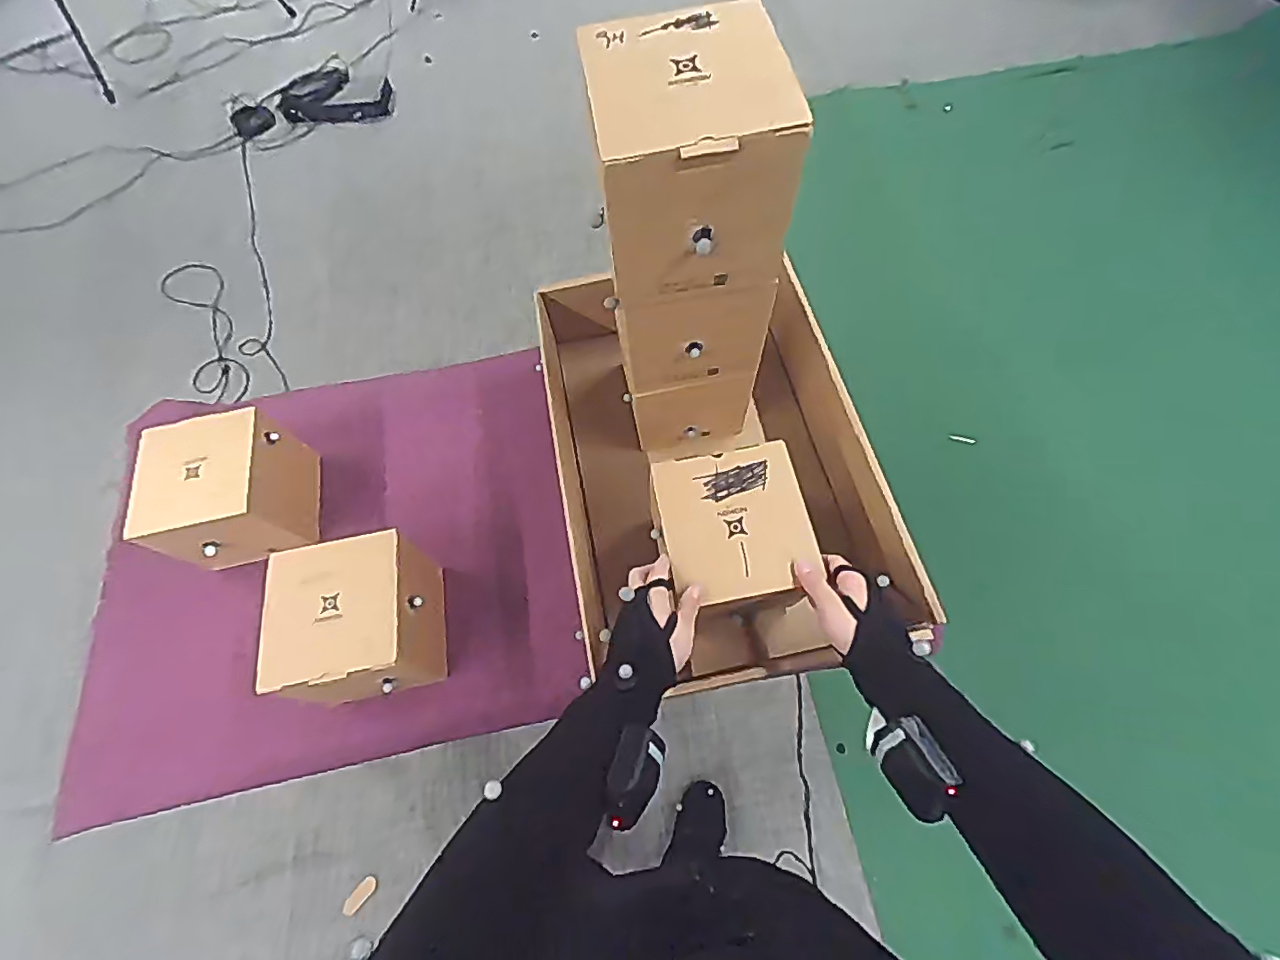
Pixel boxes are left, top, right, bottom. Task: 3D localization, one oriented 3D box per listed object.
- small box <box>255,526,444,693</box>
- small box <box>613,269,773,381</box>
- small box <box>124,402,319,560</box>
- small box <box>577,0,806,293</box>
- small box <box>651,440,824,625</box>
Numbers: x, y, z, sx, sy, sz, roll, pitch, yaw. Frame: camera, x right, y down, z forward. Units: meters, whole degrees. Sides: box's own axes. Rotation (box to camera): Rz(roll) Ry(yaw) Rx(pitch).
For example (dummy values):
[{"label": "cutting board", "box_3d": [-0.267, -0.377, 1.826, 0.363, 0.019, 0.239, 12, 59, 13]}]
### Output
[{"label": "small box", "box_3d": [-0.377, 0.184, 0.735, 0.168, 0.176, 0.179, -11, 64, -3]}, {"label": "small box", "box_3d": [0.053, -0.239, 0.667, 0.168, 0.176, 0.179, -9, 67, -1]}, {"label": "small box", "box_3d": [-0.619, 0.012, 0.827, 0.168, 0.176, 0.179, -13, 65, -3]}, {"label": "small box", "box_3d": [0.041, -0.300, 0.516, 0.168, 0.176, 0.179, -9, 68, -1]}, {"label": "small box", "box_3d": [0.106, 0.073, 0.683, 0.168, 0.176, 0.179, -10, 68, -2]}]
